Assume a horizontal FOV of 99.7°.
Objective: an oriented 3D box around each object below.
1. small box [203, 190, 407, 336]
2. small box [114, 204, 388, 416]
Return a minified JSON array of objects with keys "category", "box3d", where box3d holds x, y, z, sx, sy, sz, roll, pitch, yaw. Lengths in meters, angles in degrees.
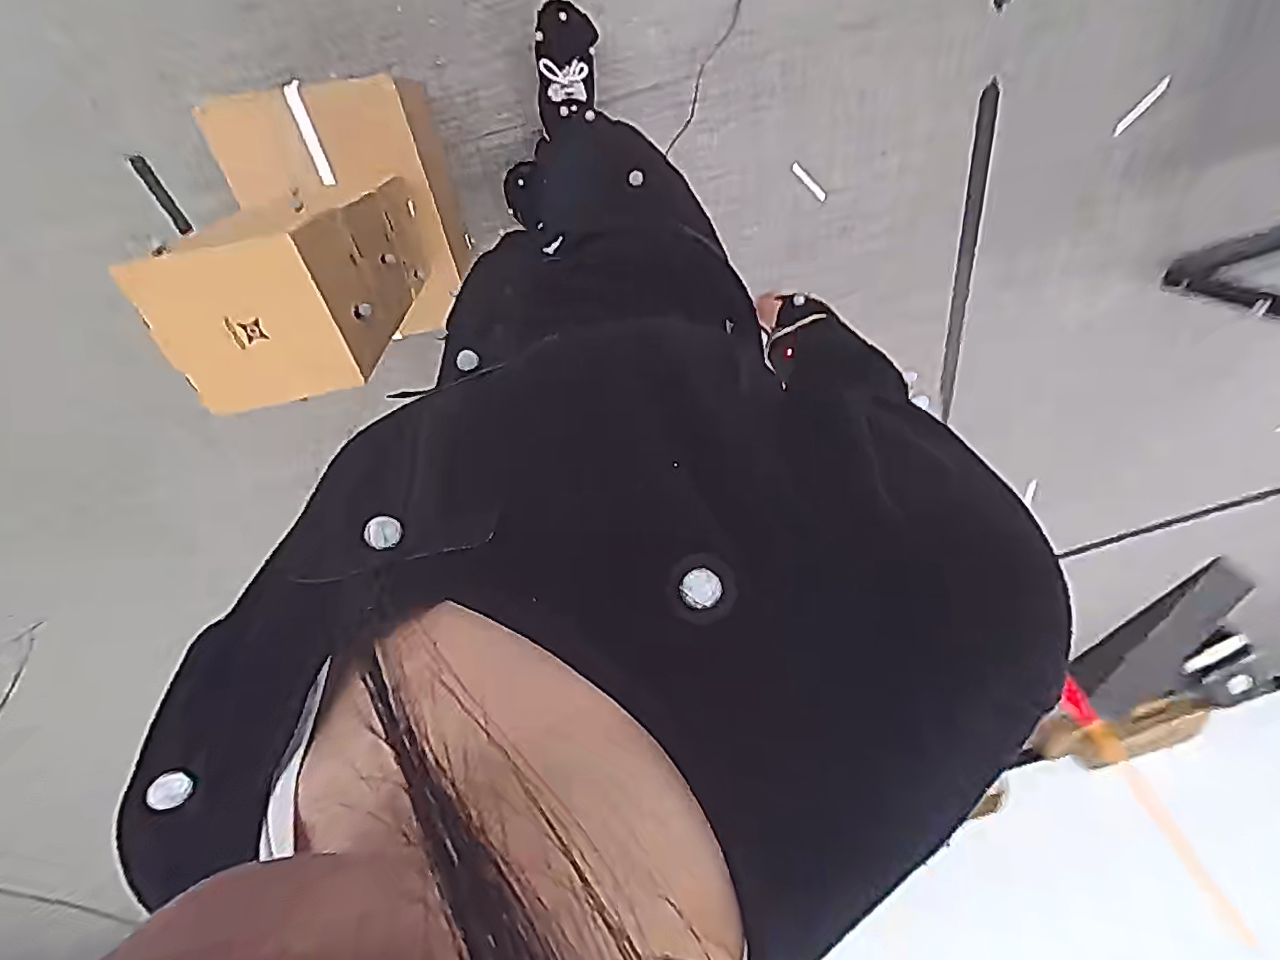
[{"category":"small box","box3d":[-0.442,-0.291,0.751,0.179,0.176,0.168,-13,126,-4]},{"category":"small box","box3d":[-0.411,-0.201,0.619,0.179,0.176,0.168,-13,127,-2]}]
